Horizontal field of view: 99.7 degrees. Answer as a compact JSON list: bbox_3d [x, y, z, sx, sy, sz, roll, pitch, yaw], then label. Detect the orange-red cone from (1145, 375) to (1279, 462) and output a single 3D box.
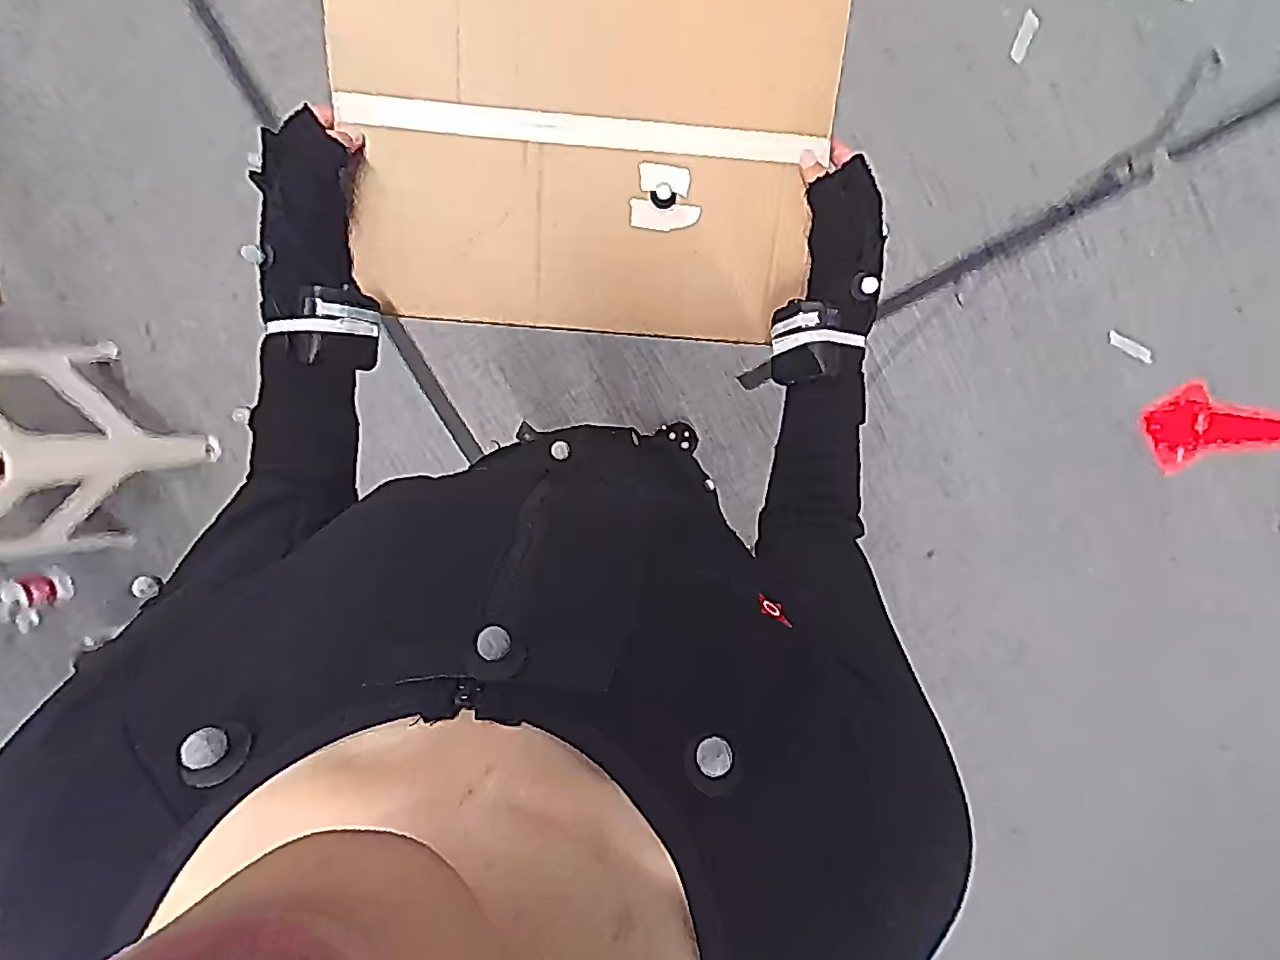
[{"bbox_3d":[1.547,-0.149,1.353,0.199,0.360,0.198,-32,99,1],"label":"orange-red cone"}]
